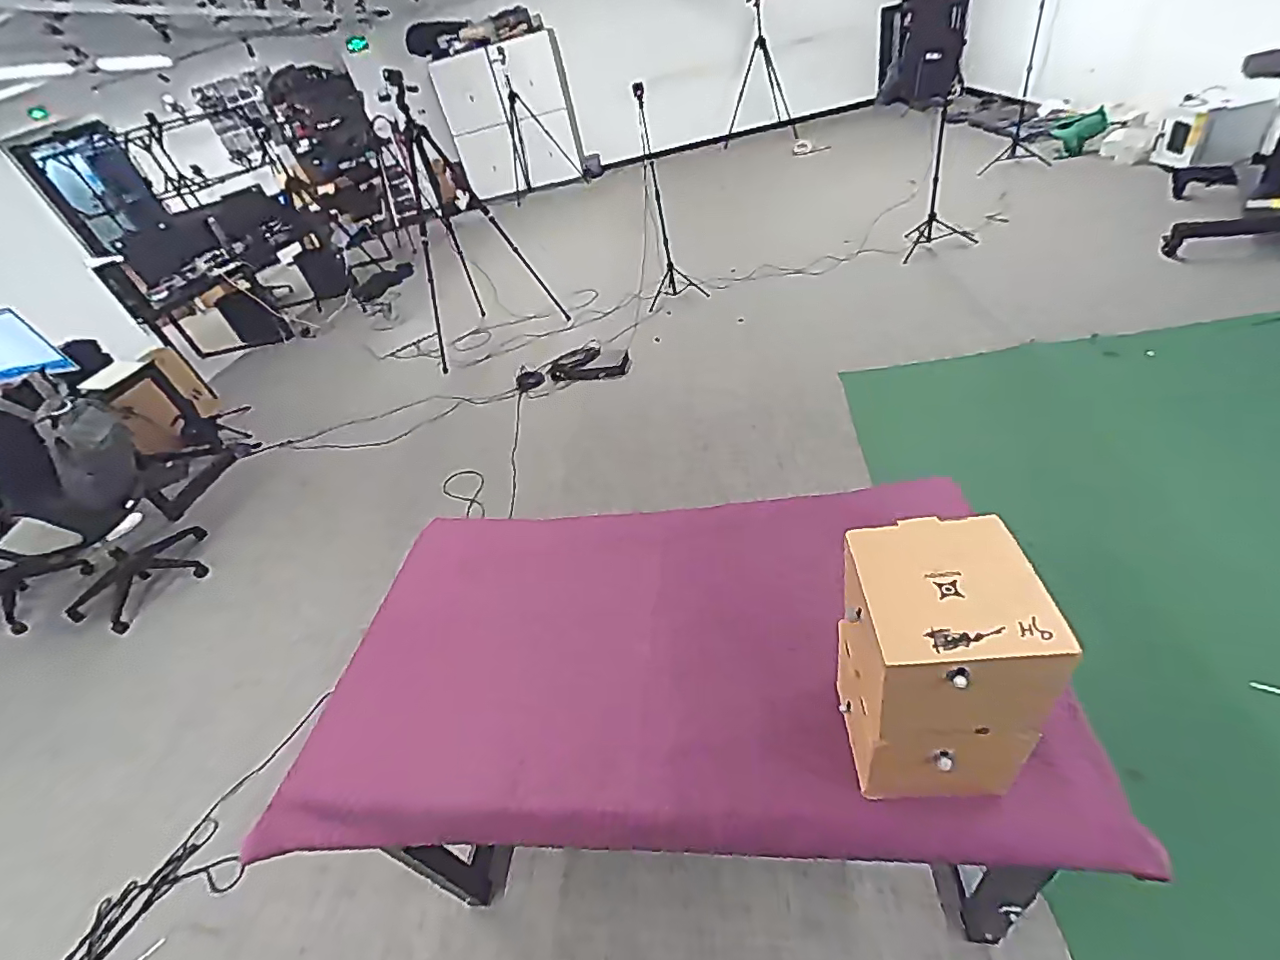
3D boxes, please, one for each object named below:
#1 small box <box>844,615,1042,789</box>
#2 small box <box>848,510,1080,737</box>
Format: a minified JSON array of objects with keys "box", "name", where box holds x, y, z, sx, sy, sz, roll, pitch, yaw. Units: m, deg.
[{"box":[0.372,0.284,0.704,0.179,0.176,0.168,-10,40,12],"name":"small box"},{"box":[0.334,0.160,0.602,0.168,0.176,0.179,-10,39,13],"name":"small box"}]
